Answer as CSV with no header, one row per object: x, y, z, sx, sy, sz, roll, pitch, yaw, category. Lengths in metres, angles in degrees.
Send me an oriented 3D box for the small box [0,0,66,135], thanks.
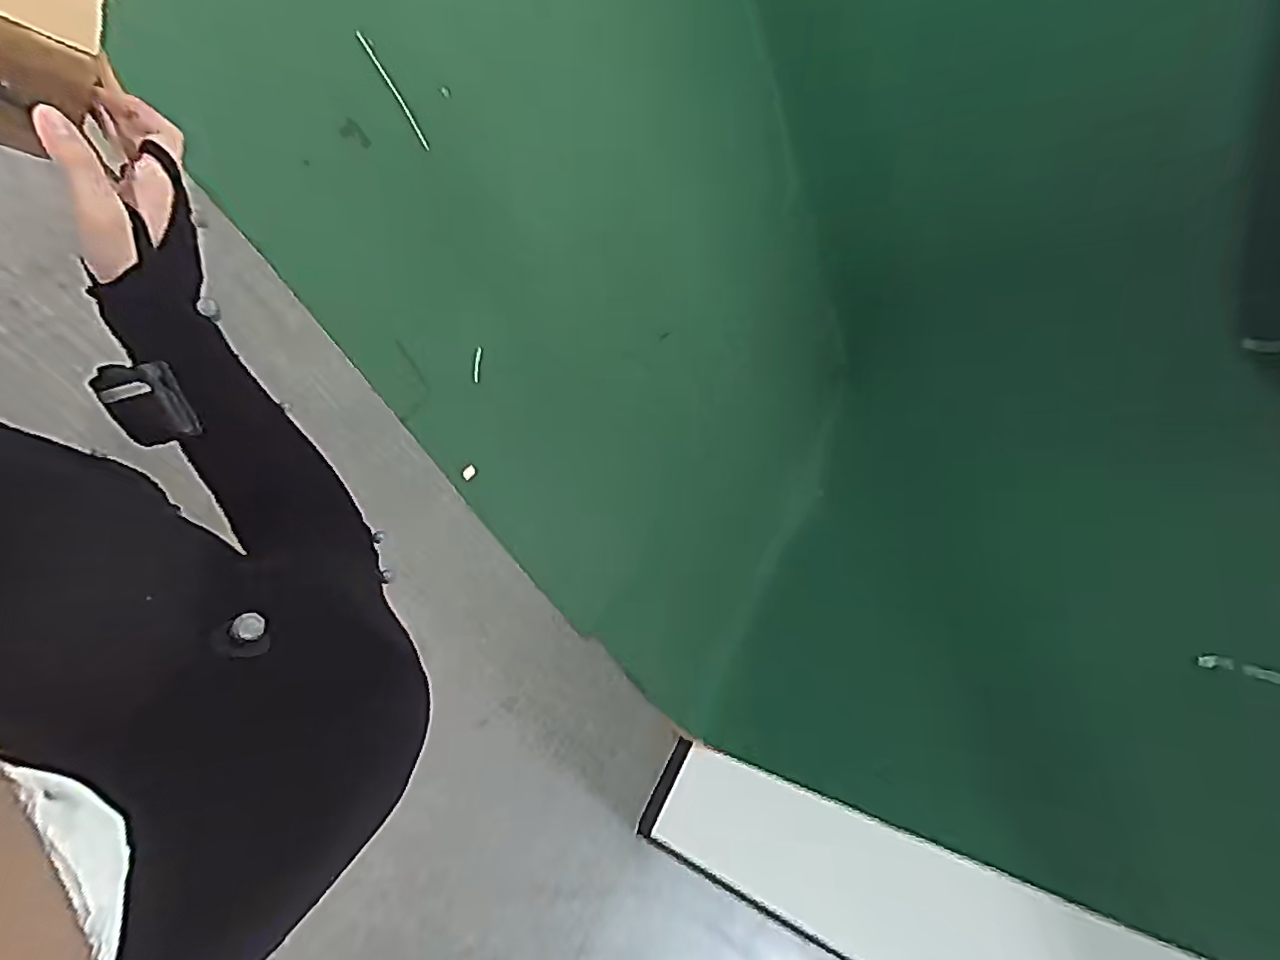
-0.464,-0.355,0.323,0.168,0.176,0.179,3,86,-51,small box
